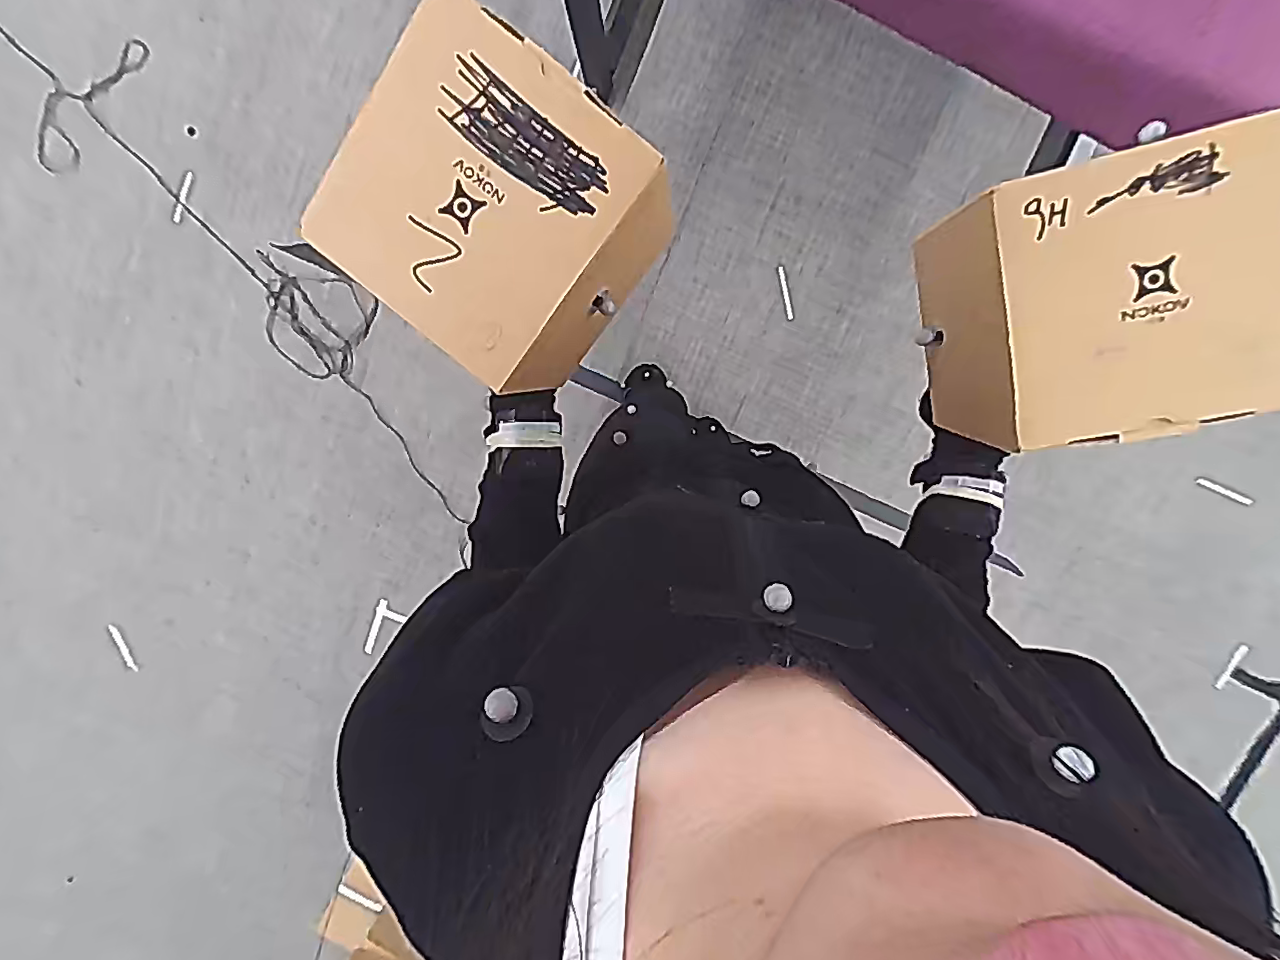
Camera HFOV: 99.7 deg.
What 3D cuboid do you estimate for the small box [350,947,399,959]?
[{"bbox_3d":[-0.569,1.130,1.117,0.168,0.176,0.179,16,98,1],"label":"small box"}]

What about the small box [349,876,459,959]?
[{"bbox_3d":[-0.561,1.093,1.276,0.179,0.176,0.168,32,97,-1],"label":"small box"}]

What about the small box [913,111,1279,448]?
[{"bbox_3d":[0.329,-0.136,0.417,0.168,0.176,0.179,-10,101,12],"label":"small box"}]
